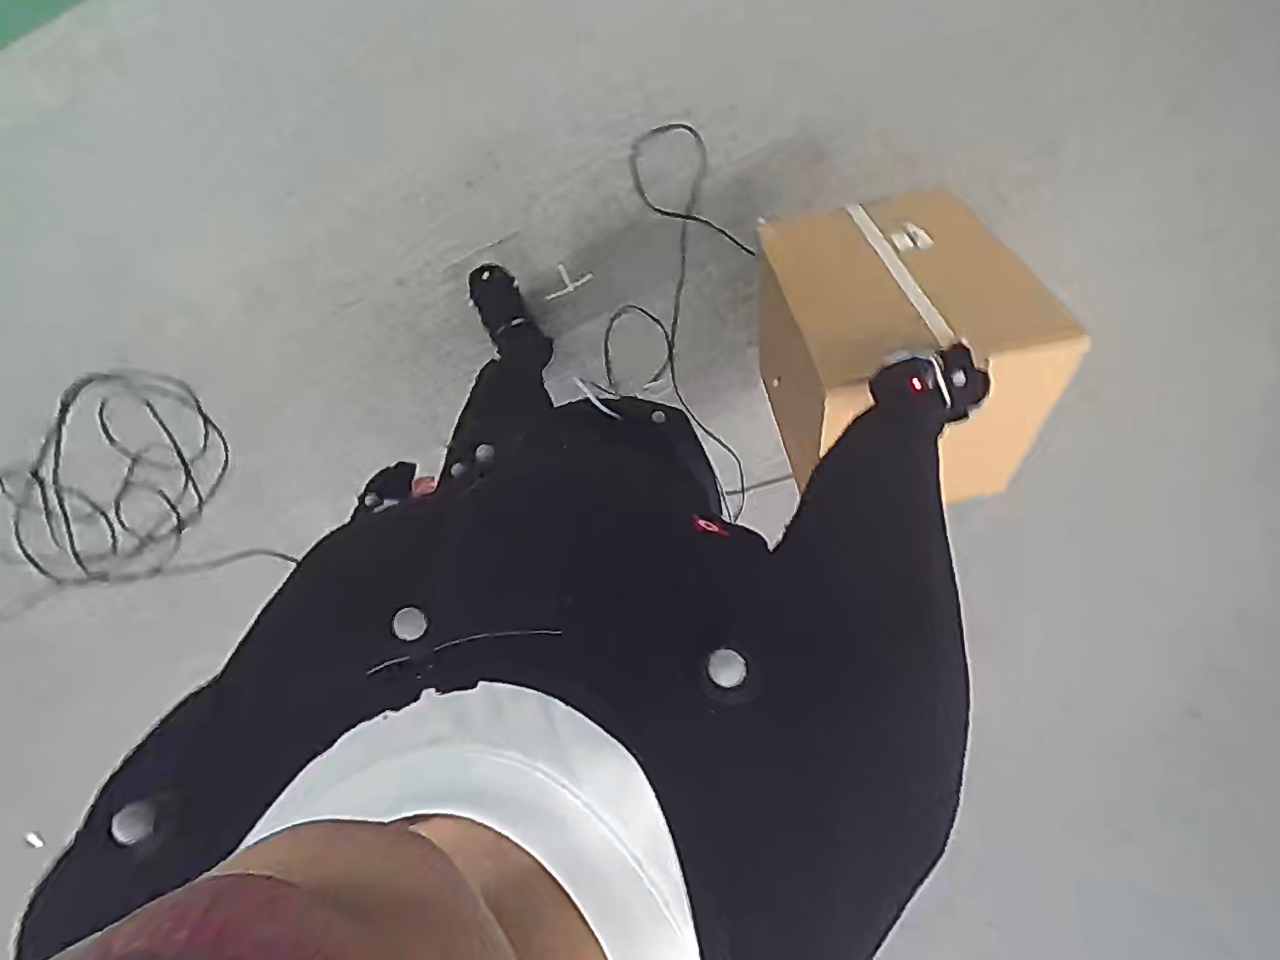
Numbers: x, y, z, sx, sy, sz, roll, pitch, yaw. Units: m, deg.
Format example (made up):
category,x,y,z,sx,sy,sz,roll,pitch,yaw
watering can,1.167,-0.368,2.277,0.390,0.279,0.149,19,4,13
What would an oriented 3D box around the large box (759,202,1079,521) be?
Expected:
category,x,y,z,sx,sy,sz,roll,pitch,yaw
large box,0.397,-0.195,0.905,0.320,0.408,0.320,-9,140,5
